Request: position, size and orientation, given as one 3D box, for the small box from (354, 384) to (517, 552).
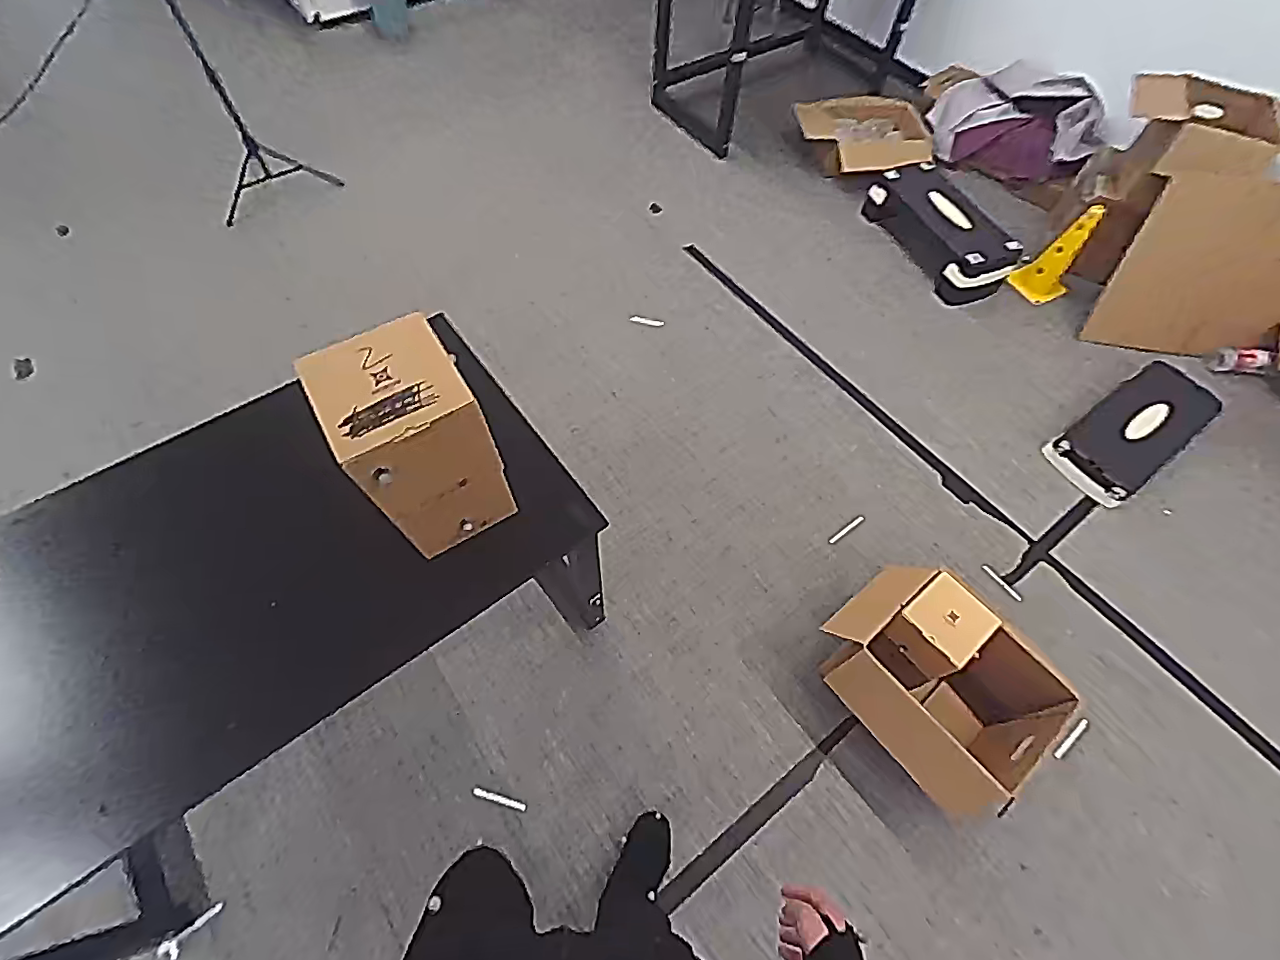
[{"bbox_3d":[-0.317,-0.014,0.863,0.168,0.176,0.179,-29,67,-15],"label":"small box"}]
